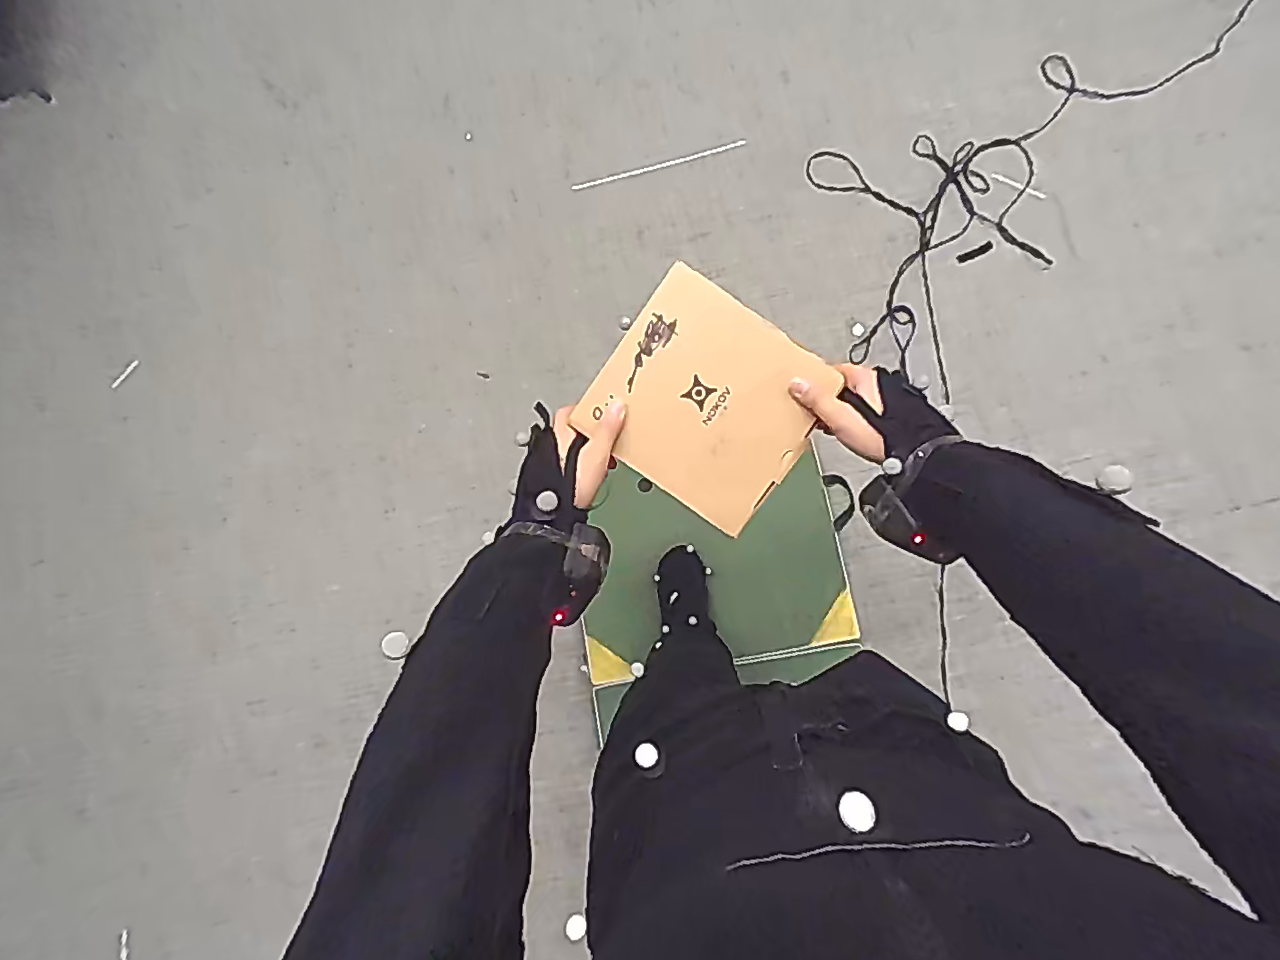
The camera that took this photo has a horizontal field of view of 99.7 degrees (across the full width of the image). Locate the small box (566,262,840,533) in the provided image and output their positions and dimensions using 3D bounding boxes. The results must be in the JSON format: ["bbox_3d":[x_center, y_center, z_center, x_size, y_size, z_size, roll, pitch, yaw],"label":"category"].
[{"bbox_3d":[0.054,-0.072,0.533,0.179,0.176,0.168,35,91,-1],"label":"small box"}]
